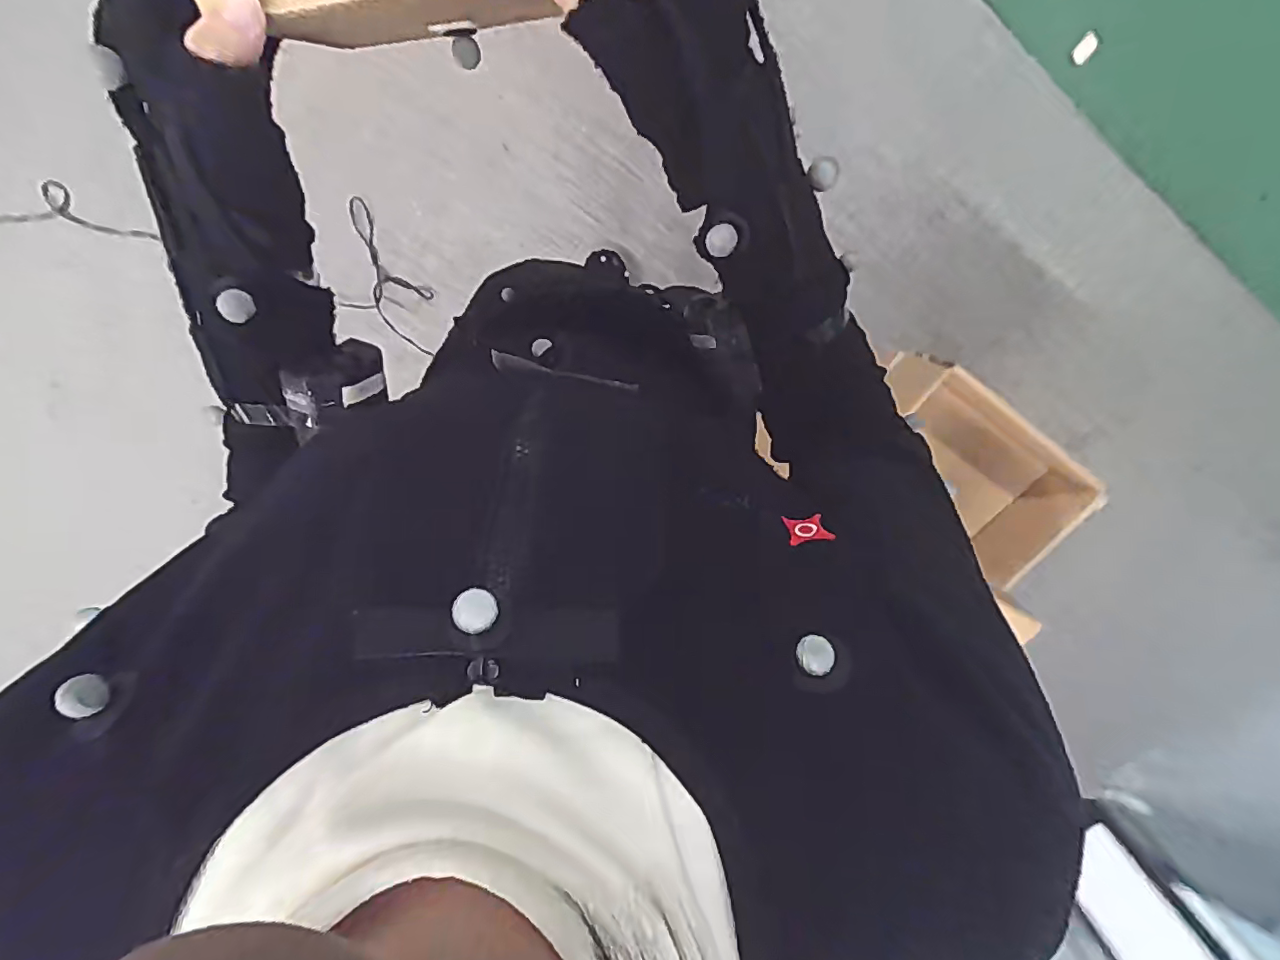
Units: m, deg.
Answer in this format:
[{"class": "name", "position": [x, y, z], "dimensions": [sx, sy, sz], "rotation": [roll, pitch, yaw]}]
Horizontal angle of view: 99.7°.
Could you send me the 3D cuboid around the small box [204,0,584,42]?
[{"class": "small box", "position": [-0.107, -0.307, 0.219], "dimensions": [0.168, 0.176, 0.179], "rotation": [-9, 126, 2]}]
